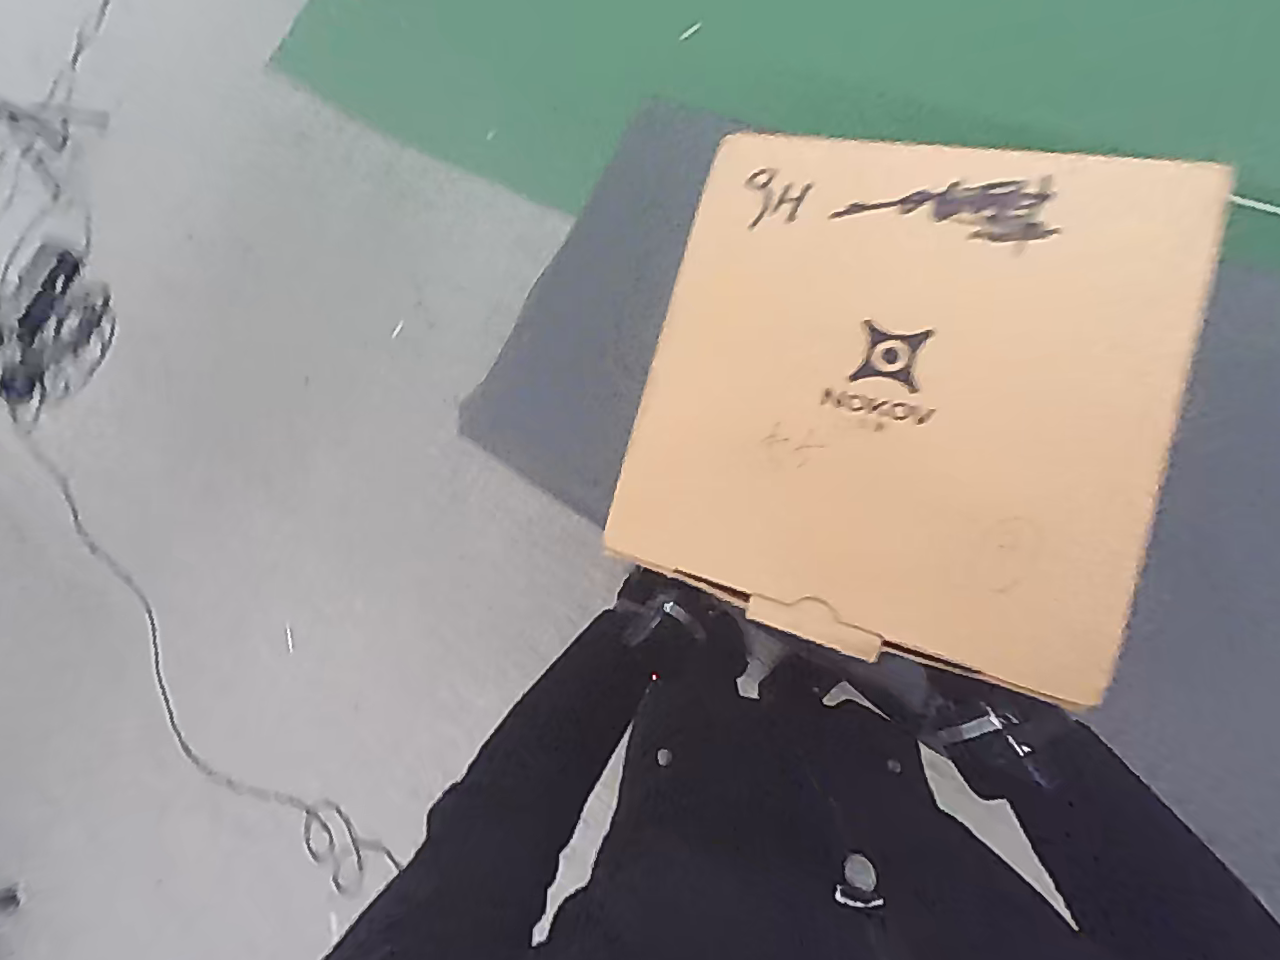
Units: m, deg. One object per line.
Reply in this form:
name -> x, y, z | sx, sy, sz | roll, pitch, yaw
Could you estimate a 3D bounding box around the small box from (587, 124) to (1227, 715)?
small box -> 0.100, -0.026, 0.261 | 0.168, 0.176, 0.179 | 17, 90, 17
